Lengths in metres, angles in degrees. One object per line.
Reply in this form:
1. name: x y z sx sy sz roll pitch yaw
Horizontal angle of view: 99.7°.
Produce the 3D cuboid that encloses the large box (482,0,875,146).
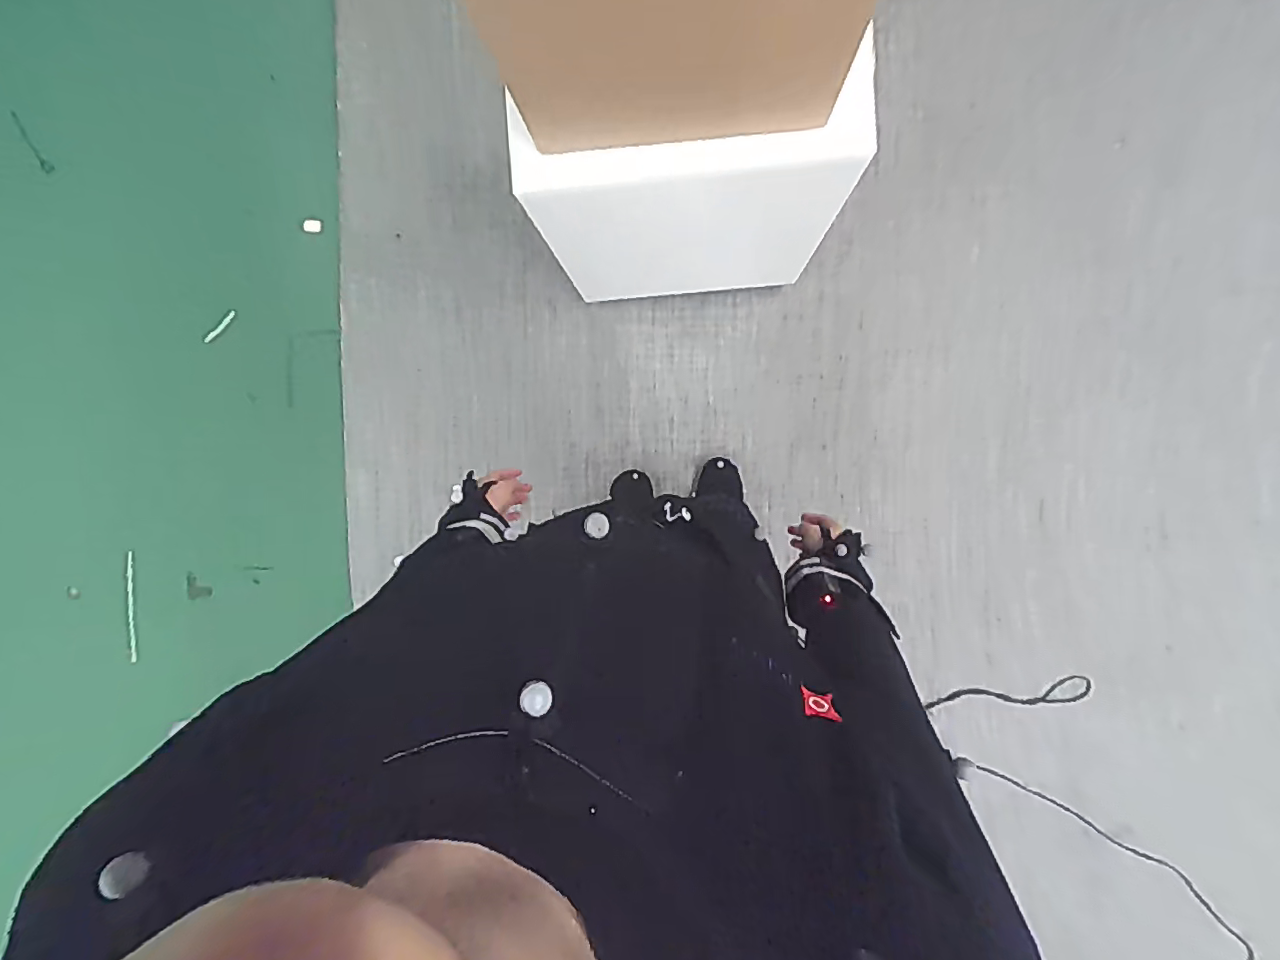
1. large box: 0.037 -0.625 0.597 0.408 0.320 0.320 -3 93 4
